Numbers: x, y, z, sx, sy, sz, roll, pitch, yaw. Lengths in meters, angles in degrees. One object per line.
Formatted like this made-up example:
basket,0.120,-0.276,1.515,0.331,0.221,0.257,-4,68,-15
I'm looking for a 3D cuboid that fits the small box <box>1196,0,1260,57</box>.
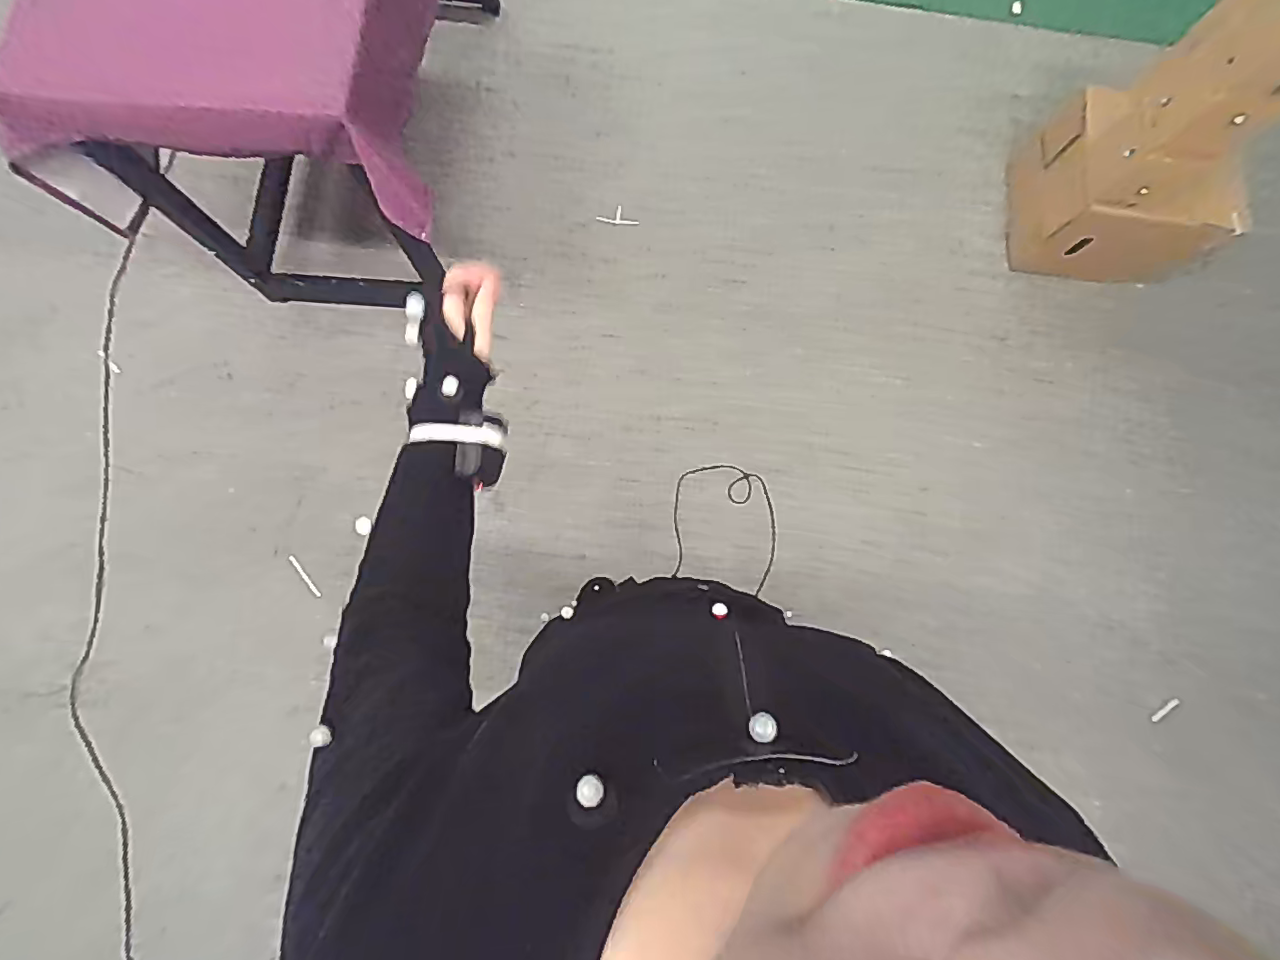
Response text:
small box,1.468,-1.050,1.261,0.168,0.176,0.179,5,78,-4
